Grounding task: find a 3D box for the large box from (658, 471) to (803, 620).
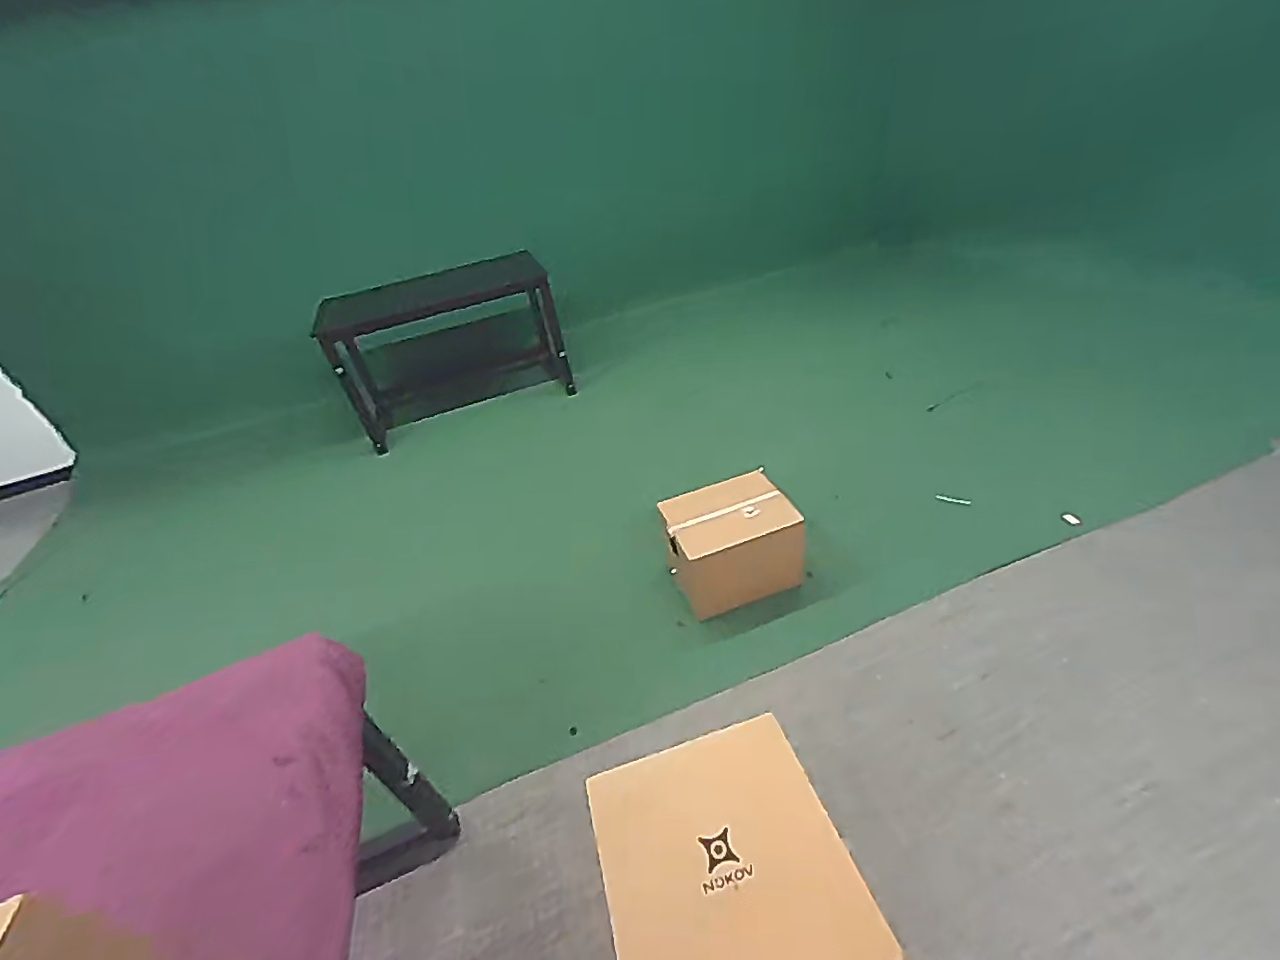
[{"bbox_3d":[0.313,0.225,1.896,0.408,0.320,0.320,-17,38,-9],"label":"large box"}]
